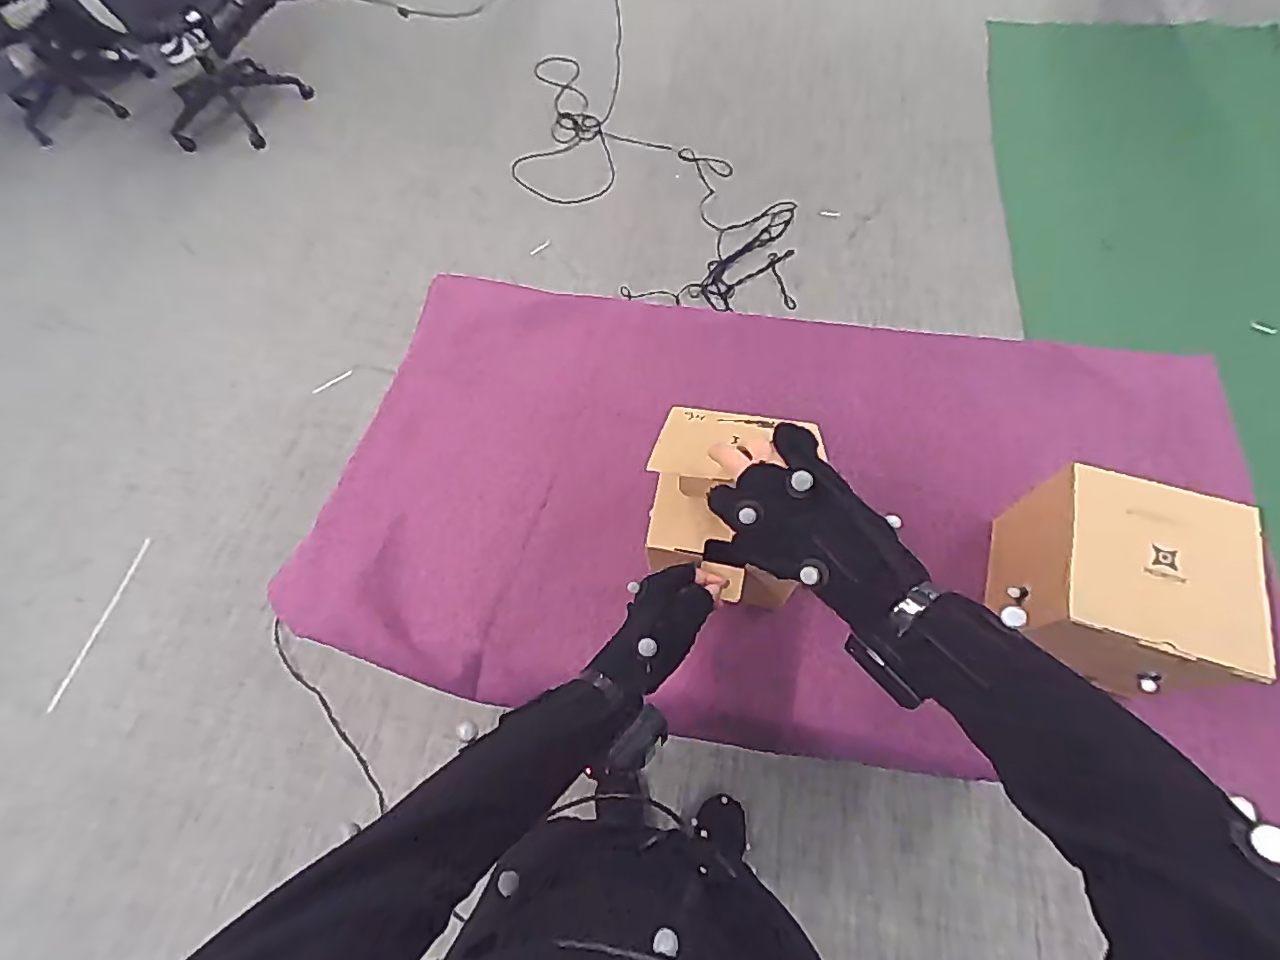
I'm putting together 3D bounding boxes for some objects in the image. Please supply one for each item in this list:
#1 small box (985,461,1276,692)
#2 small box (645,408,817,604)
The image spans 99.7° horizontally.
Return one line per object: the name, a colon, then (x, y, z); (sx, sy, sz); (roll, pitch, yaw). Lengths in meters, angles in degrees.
small box: (0.502, 0.112, 0.582); (0.168, 0.176, 0.179); (17, 66, 13)
small box: (0.108, 0.039, 0.651); (0.168, 0.176, 0.179); (9, 65, 8)
